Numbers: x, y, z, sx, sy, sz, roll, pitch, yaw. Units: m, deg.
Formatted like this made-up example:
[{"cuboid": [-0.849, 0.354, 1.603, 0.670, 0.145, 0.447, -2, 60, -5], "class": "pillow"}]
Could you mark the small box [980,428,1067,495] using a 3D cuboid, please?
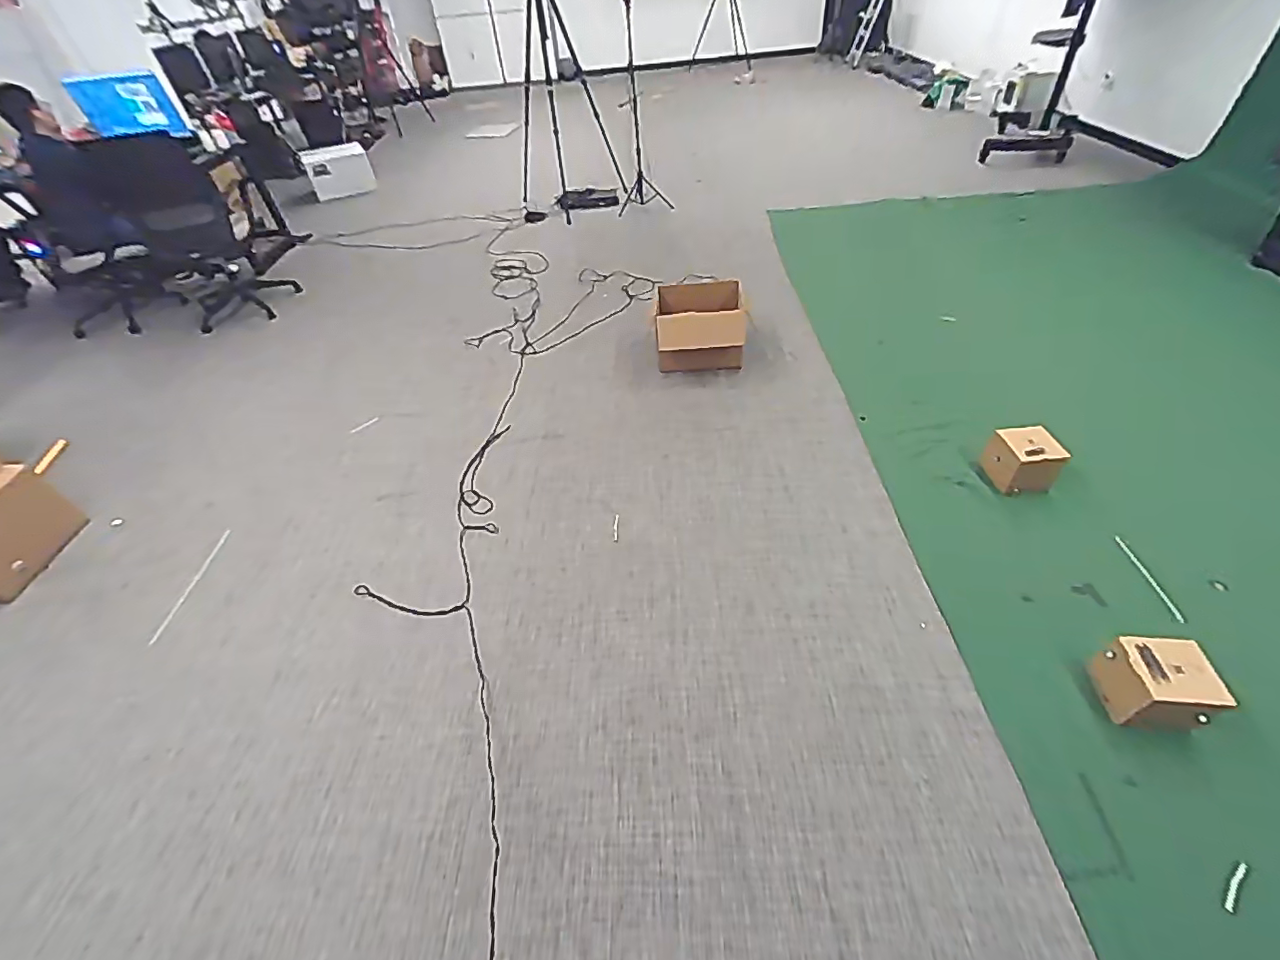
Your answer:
[{"cuboid": [1.356, -0.060, 1.926, 0.168, 0.176, 0.179, -5, 43, 1], "class": "small box"}]
